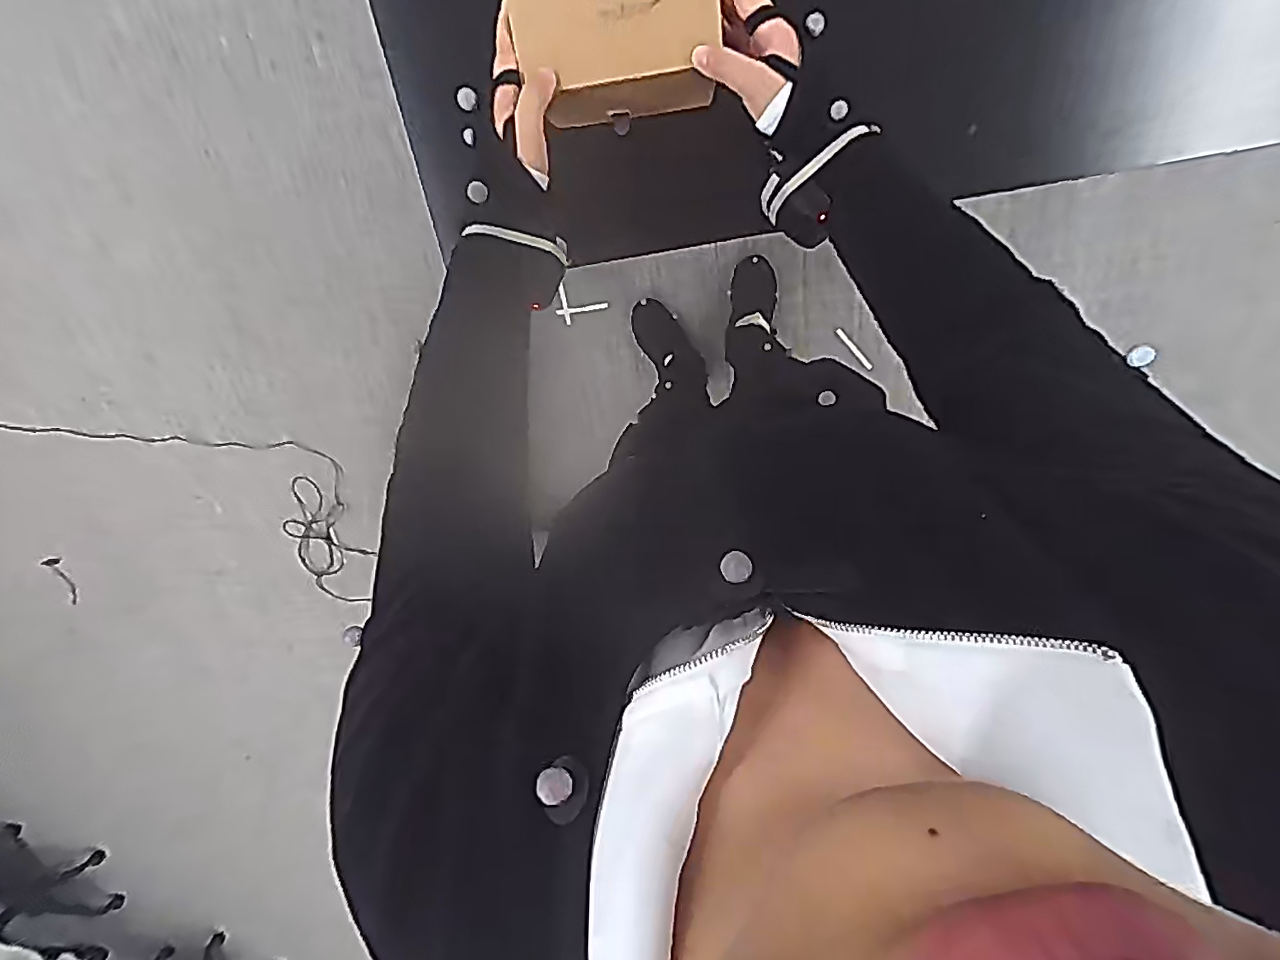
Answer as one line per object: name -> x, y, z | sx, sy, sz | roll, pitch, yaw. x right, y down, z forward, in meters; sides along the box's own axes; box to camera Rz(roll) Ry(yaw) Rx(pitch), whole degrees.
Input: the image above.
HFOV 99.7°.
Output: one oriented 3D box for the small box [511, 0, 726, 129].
small box -> -0.018, -0.432, 0.471 | 0.168, 0.176, 0.179 | -6, 115, 7
